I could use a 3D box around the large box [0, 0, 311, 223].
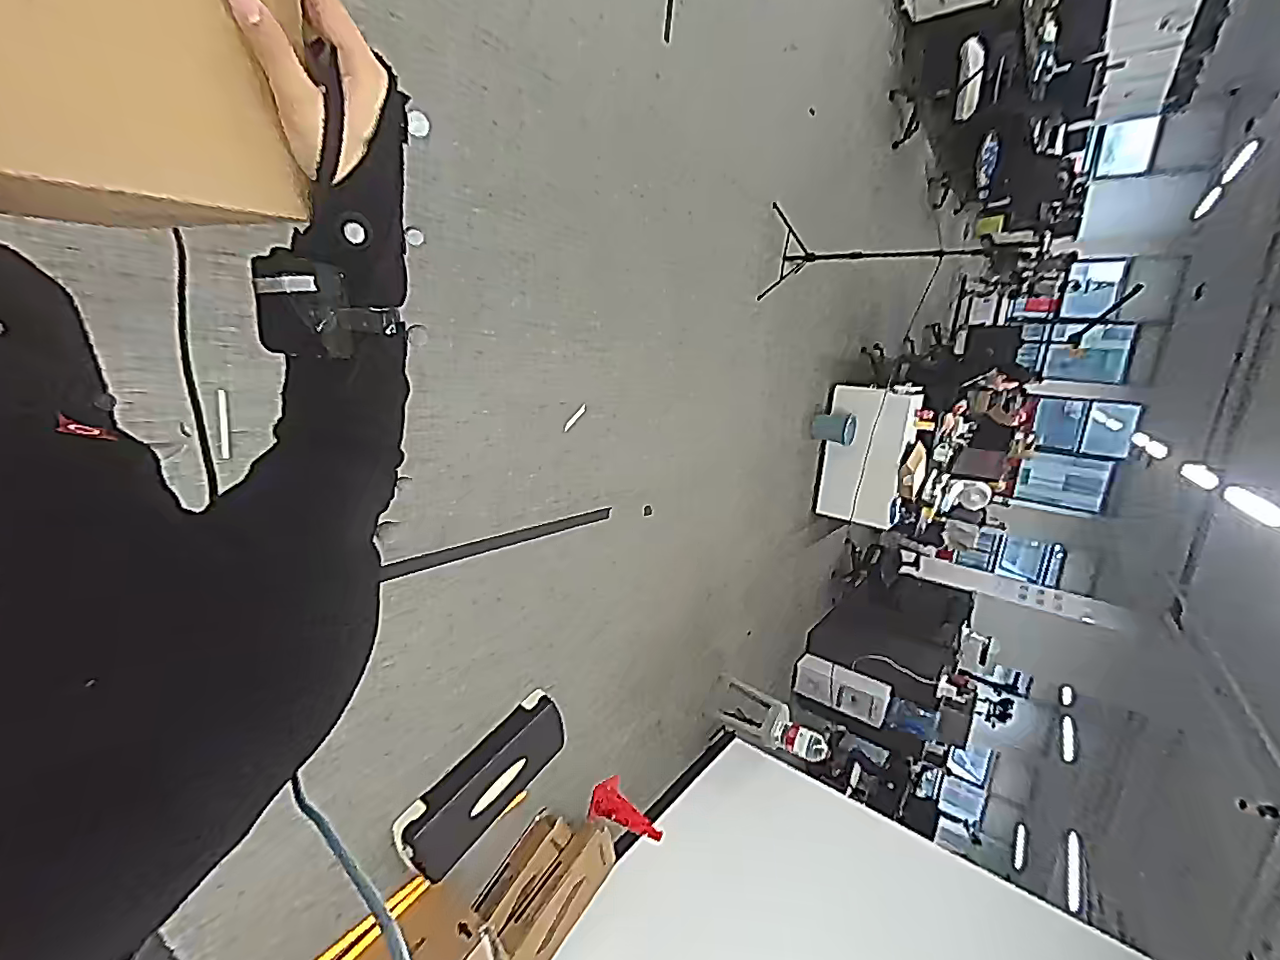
[{"bbox_3d":[-0.437,-0.300,0.219,0.408,0.320,0.320,-23,123,-53],"label":"large box"}]
